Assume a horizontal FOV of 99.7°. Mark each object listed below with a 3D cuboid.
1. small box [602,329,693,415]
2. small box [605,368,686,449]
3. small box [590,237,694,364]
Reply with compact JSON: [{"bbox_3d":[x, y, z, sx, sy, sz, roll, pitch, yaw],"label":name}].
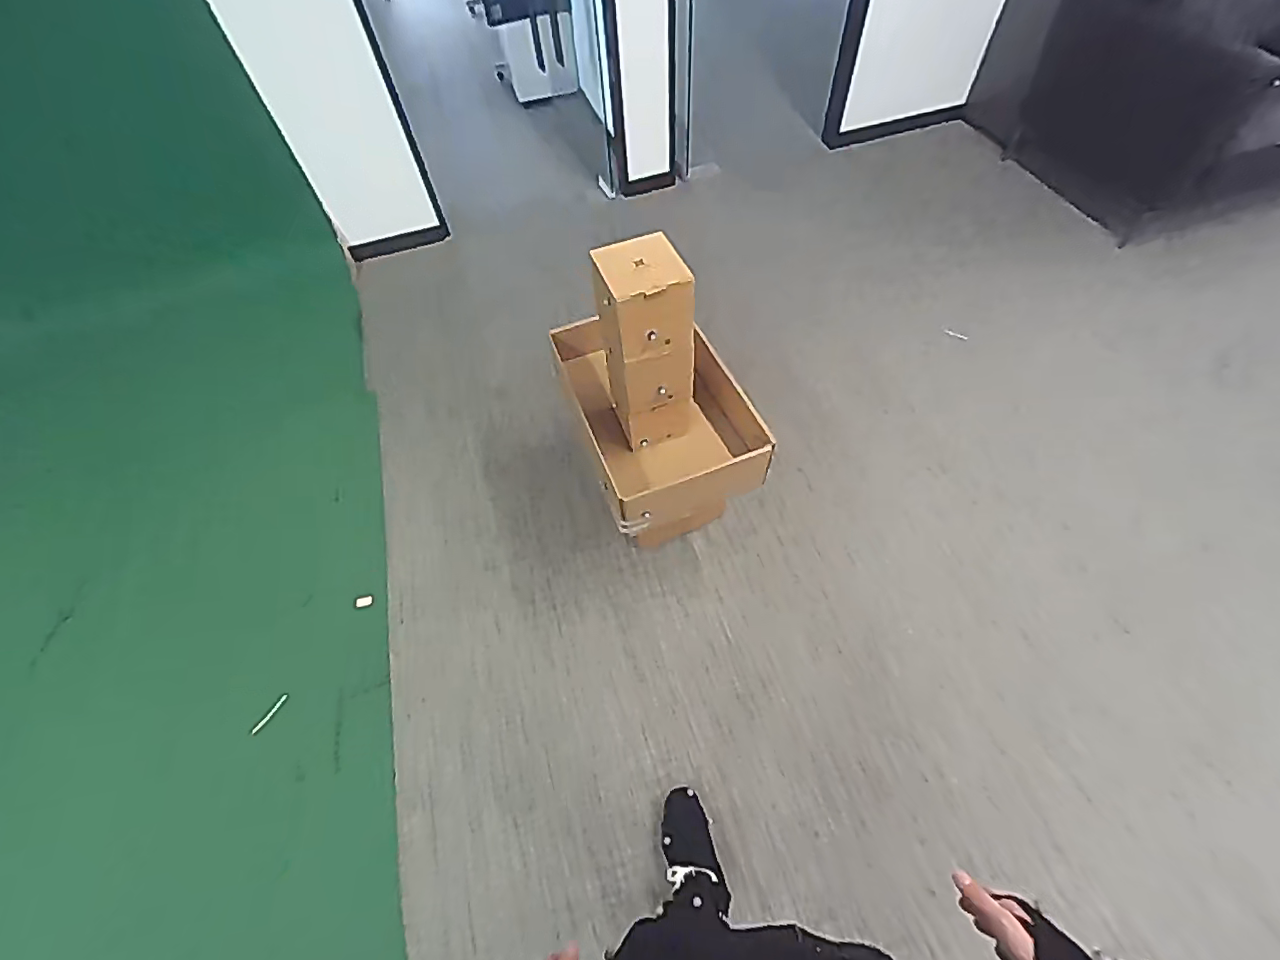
[{"bbox_3d":[0.015,-0.284,1.281,0.168,0.176,0.179,-20,57,-9],"label":"small box"},{"bbox_3d":[0.019,-0.201,1.423,0.168,0.176,0.179,-18,56,-9],"label":"small box"},{"bbox_3d":[0.003,-0.378,1.149,0.168,0.176,0.179,-19,57,-10],"label":"small box"}]
